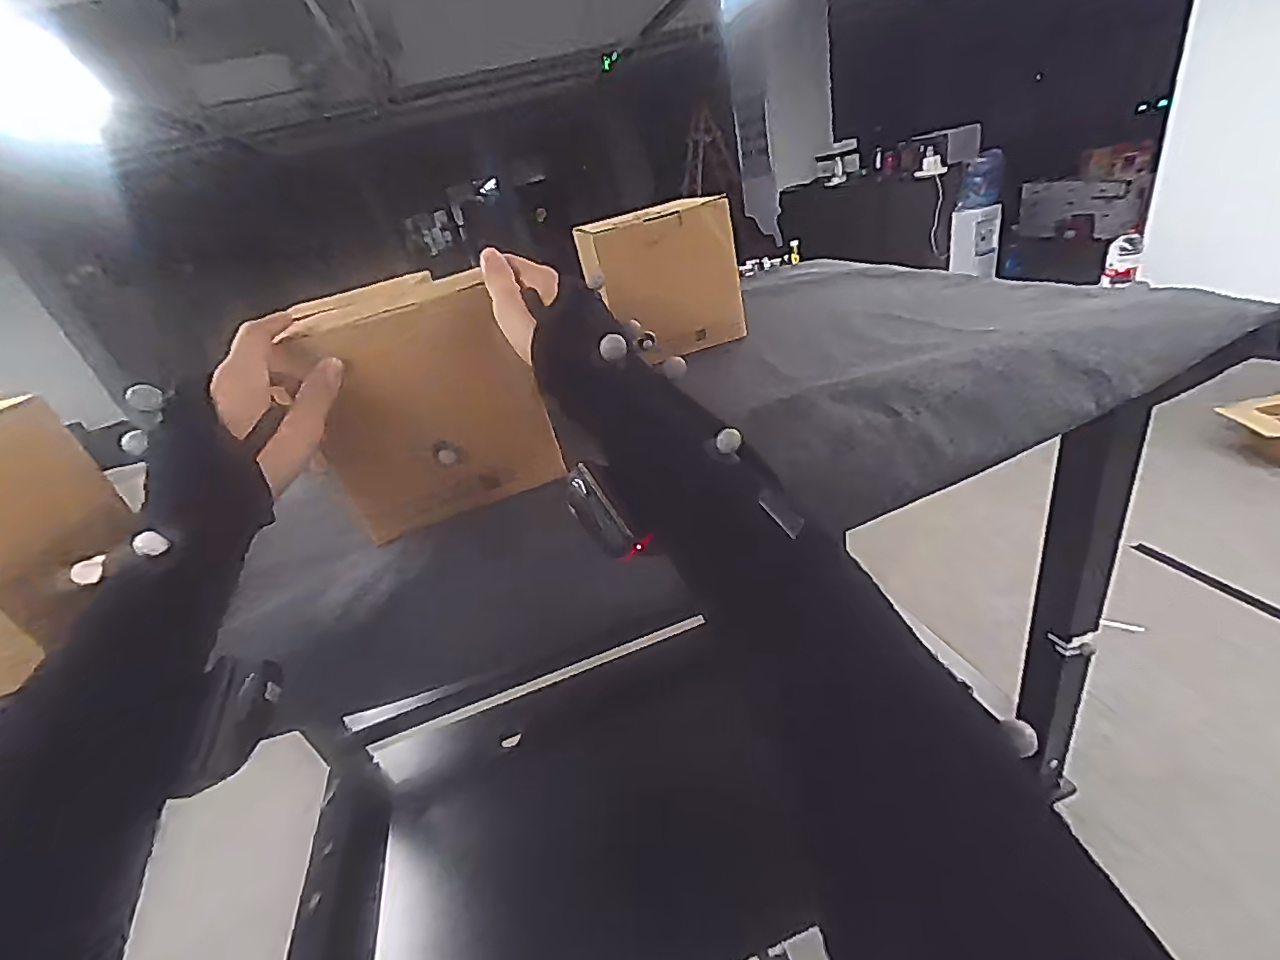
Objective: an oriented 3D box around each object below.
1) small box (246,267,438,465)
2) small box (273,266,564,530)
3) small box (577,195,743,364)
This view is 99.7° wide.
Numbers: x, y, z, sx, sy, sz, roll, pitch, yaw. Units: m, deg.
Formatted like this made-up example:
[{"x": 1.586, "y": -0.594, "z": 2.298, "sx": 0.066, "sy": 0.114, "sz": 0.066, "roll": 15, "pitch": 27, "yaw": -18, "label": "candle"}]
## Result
[{"x": -0.311, "y": -0.141, "z": 0.654, "sx": 0.179, "sy": 0.176, "sz": 0.168, "roll": -17, "pitch": 29, "yaw": -4, "label": "small box"}, {"x": -0.179, "y": -0.082, "z": 0.485, "sx": 0.168, "sy": 0.176, "sz": 0.179, "roll": -20, "pitch": 29, "yaw": -9, "label": "small box"}, {"x": 0.026, "y": -0.267, "z": 0.723, "sx": 0.168, "sy": 0.176, "sz": 0.179, "roll": -17, "pitch": 29, "yaw": -6, "label": "small box"}]
